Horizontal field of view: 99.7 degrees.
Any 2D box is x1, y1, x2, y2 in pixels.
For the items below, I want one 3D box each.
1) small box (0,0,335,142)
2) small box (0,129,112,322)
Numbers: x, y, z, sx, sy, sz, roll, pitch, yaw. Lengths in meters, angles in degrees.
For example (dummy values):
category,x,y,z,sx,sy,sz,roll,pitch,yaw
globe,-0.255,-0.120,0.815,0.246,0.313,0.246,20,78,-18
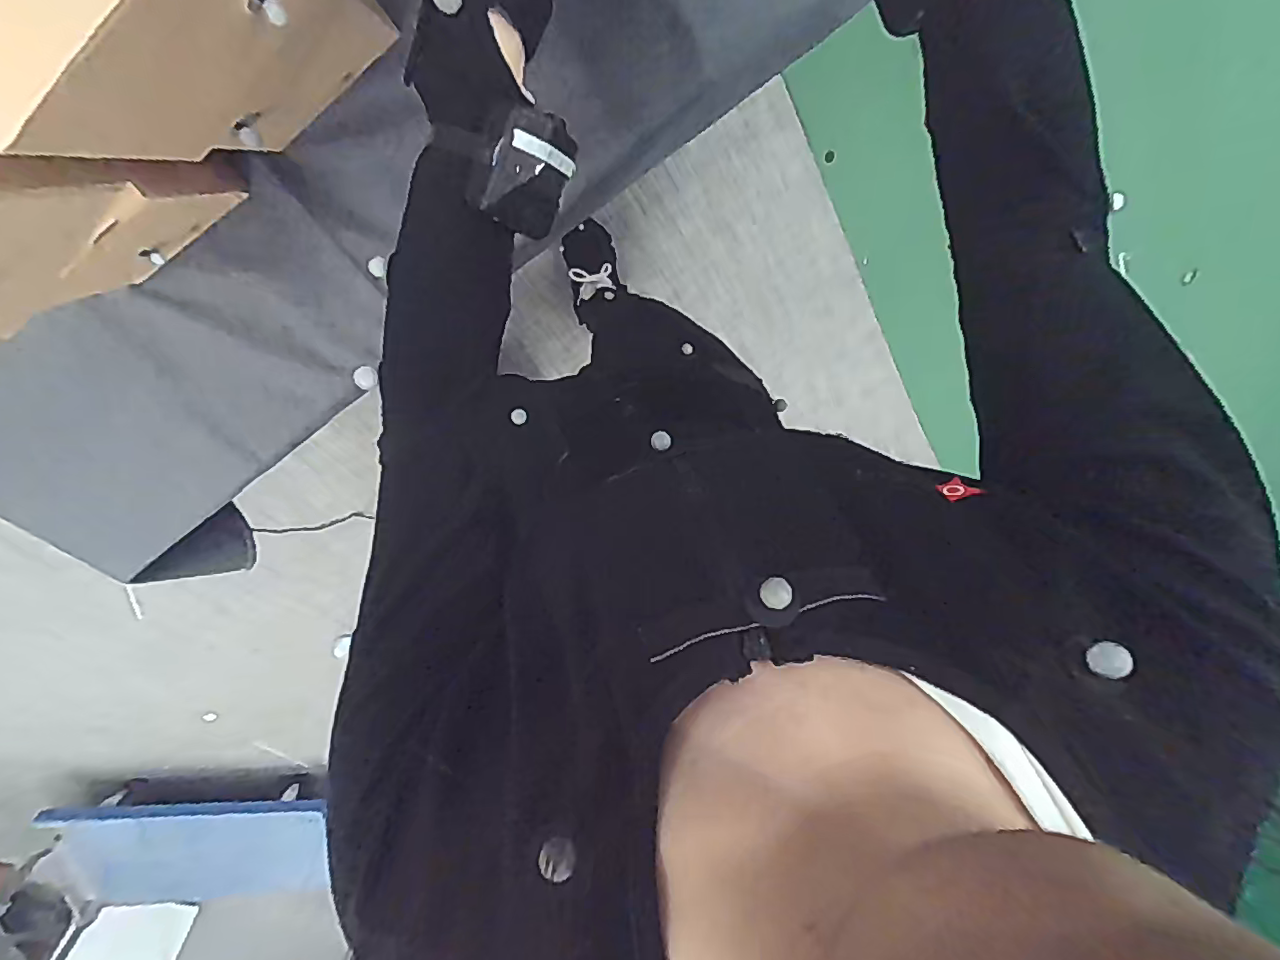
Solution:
category,x,y,z,sx,sy,sz,roll,pitch,yaw
small box,-0.284,-0.302,0.266,0.179,0.176,0.168,-35,119,12
small box,-0.472,-0.182,0.305,0.179,0.176,0.168,-38,120,14
